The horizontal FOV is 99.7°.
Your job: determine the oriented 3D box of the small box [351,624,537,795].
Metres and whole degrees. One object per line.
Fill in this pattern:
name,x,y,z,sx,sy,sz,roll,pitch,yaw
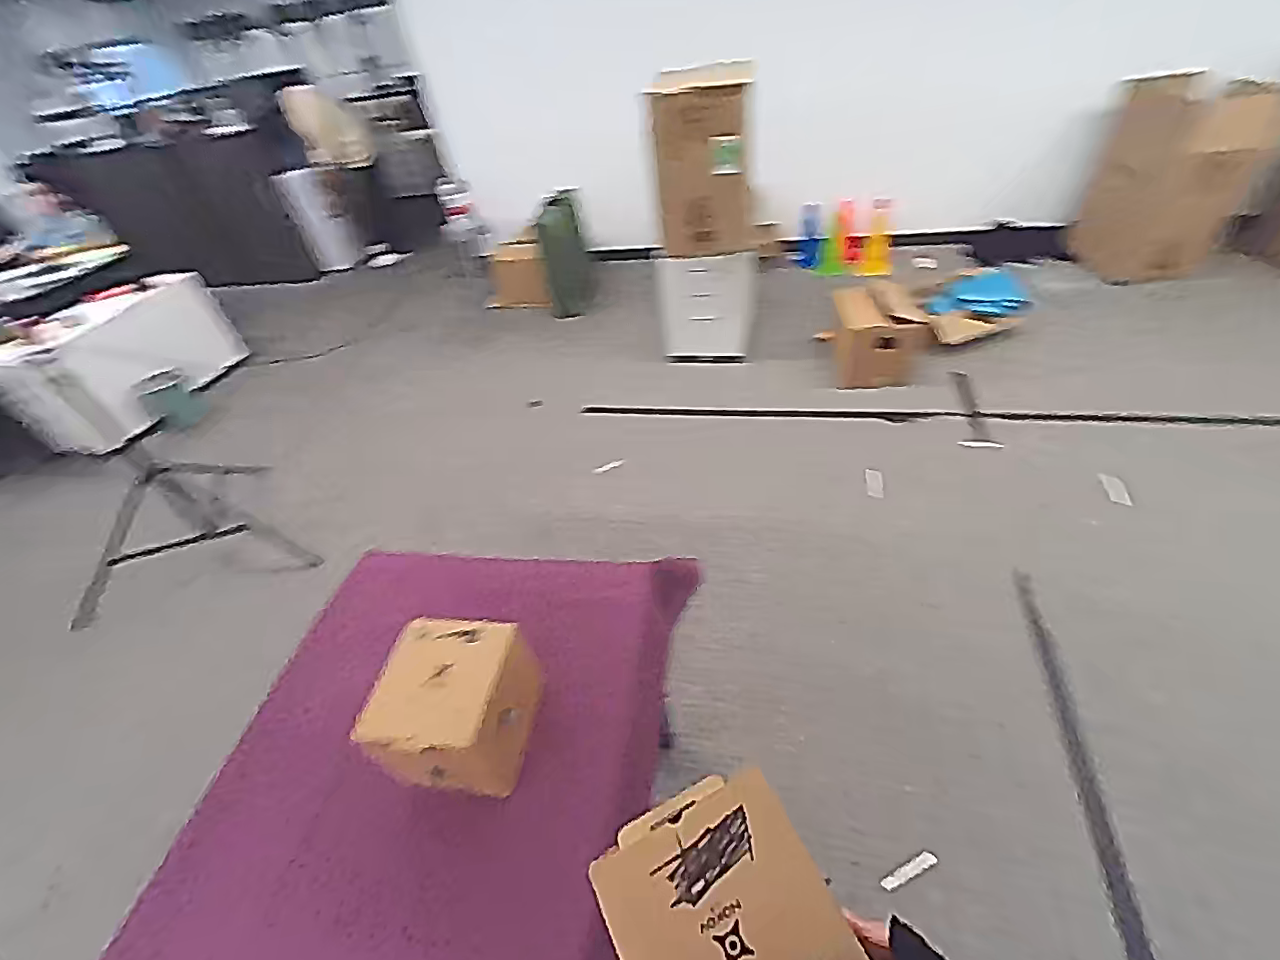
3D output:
small box,-0.261,0.329,0.774,0.168,0.176,0.179,-1,43,11
